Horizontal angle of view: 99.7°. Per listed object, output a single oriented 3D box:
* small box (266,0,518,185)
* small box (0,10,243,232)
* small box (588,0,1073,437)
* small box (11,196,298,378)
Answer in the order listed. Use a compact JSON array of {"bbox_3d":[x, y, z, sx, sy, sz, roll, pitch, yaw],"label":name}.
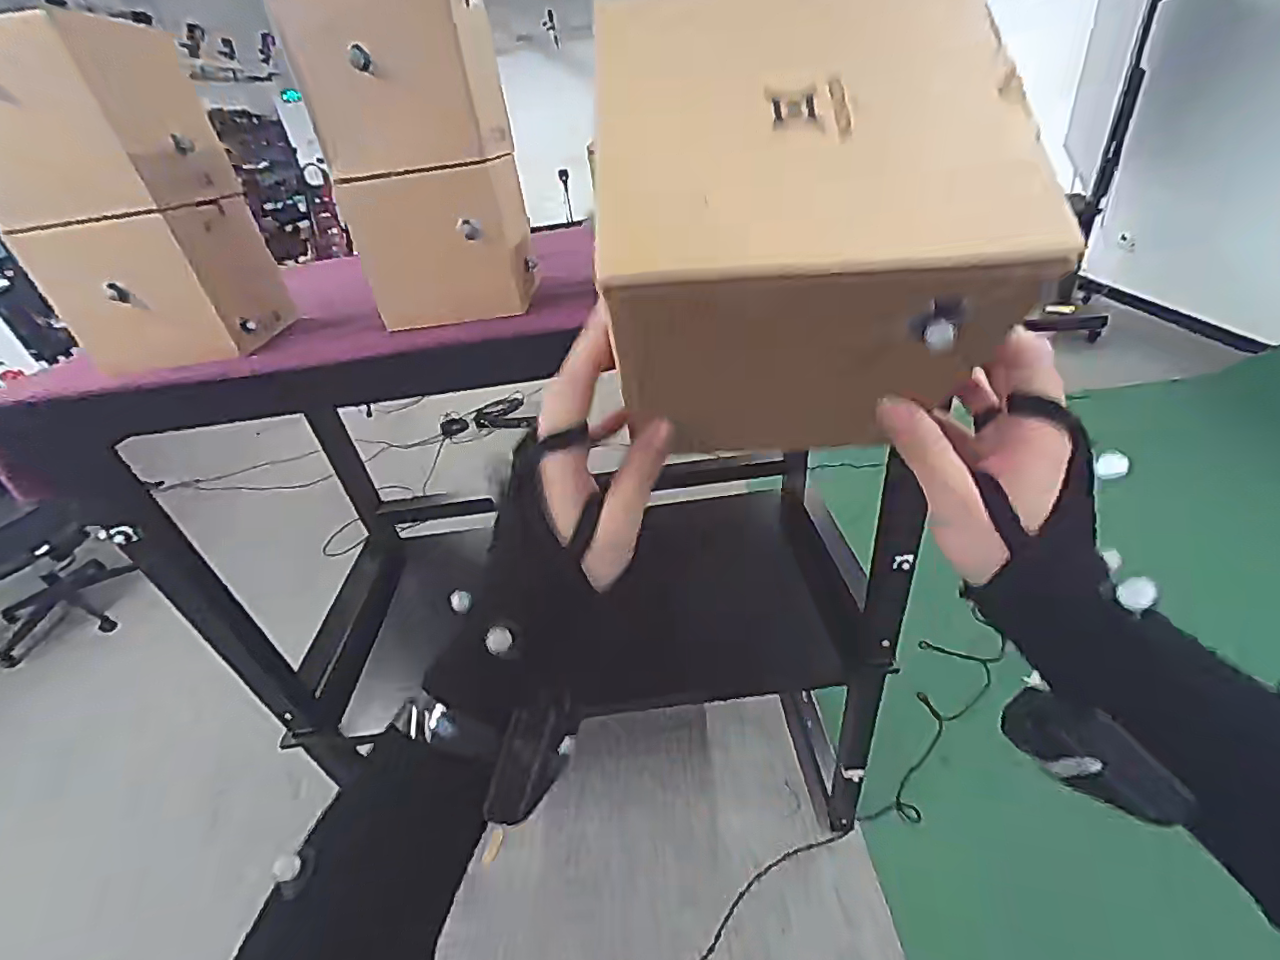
[{"bbox_3d":[-0.253,-0.437,0.599,0.179,0.176,0.168,-7,35,4],"label":"small box"},{"bbox_3d":[-0.600,-0.381,0.593,0.179,0.176,0.168,-7,35,1],"label":"small box"},{"bbox_3d":[0.070,-0.131,0.297,0.179,0.176,0.168,-3,70,2],"label":"small box"},{"bbox_3d":[-0.582,-0.245,0.684,0.179,0.176,0.168,-9,34,0],"label":"small box"}]
